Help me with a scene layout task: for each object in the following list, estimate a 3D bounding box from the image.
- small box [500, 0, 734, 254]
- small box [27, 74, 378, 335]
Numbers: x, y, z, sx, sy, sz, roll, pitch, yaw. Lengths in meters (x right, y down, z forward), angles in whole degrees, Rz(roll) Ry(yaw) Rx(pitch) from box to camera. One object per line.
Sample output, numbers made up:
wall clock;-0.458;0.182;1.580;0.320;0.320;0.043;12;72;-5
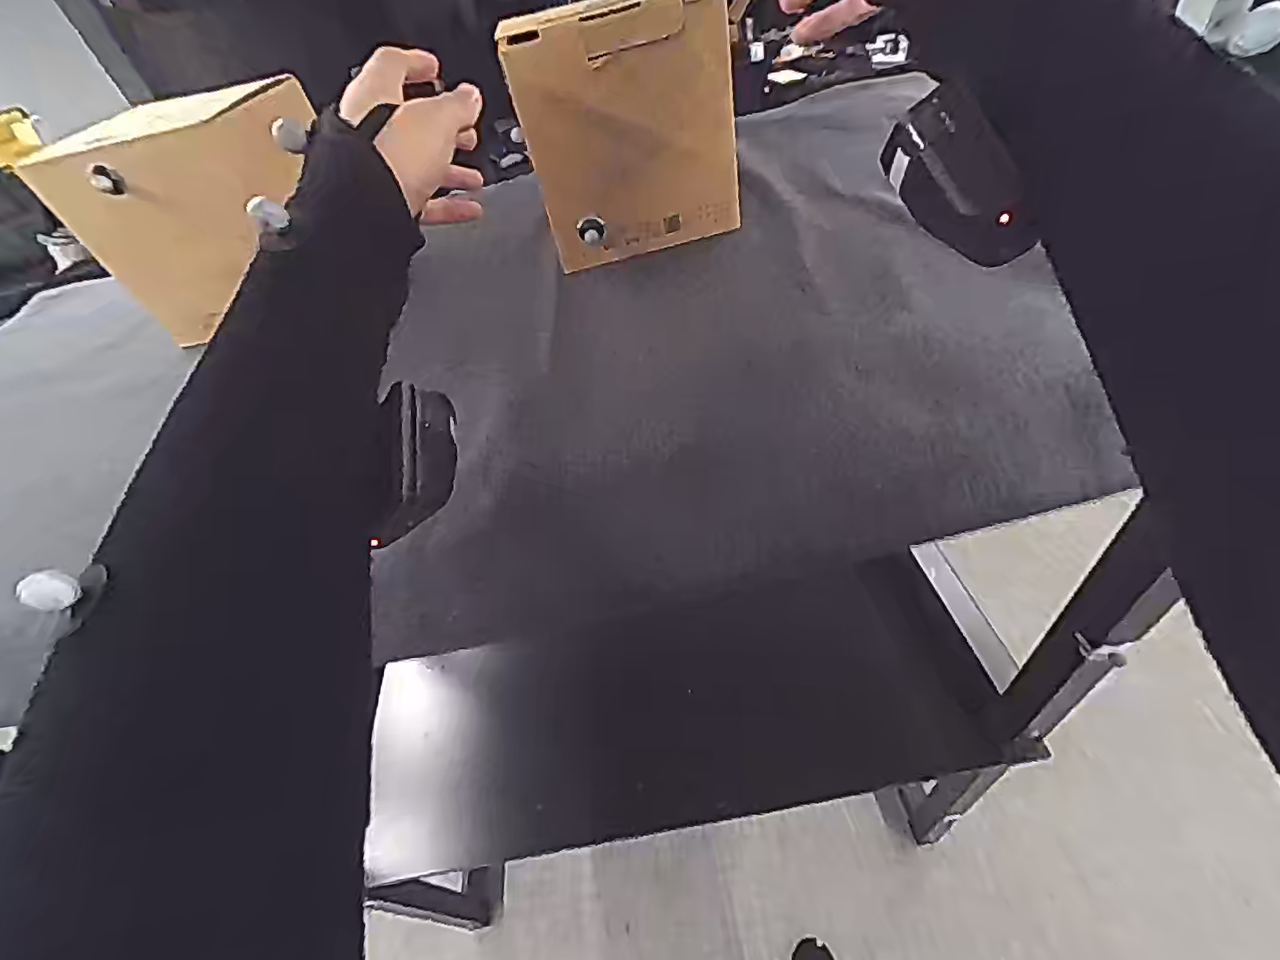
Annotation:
small box;-0.017;-0.326;0.492;0.168;0.176;0.179;-14;44;1
small box;-0.389;-0.266;0.528;0.168;0.176;0.179;-9;45;6
